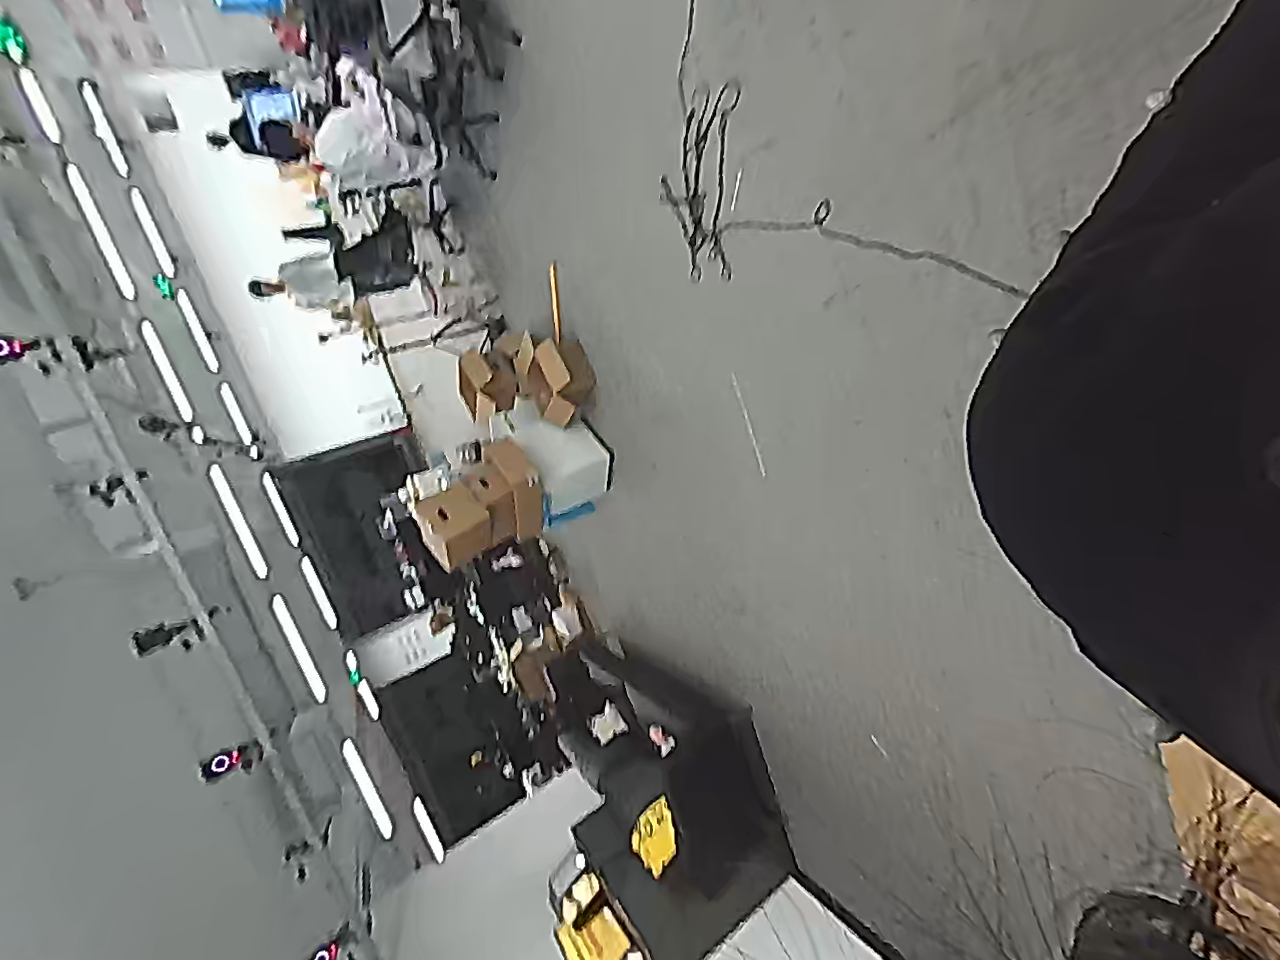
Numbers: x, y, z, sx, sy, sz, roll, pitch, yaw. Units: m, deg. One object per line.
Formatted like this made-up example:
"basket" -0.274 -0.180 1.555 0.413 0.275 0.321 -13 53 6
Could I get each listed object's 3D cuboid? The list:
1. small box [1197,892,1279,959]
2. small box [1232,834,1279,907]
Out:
"small box" 1.379 1.043 1.165 0.168 0.176 0.179 62 153 6
"small box" 1.505 0.975 1.243 0.168 0.176 0.179 28 135 51
